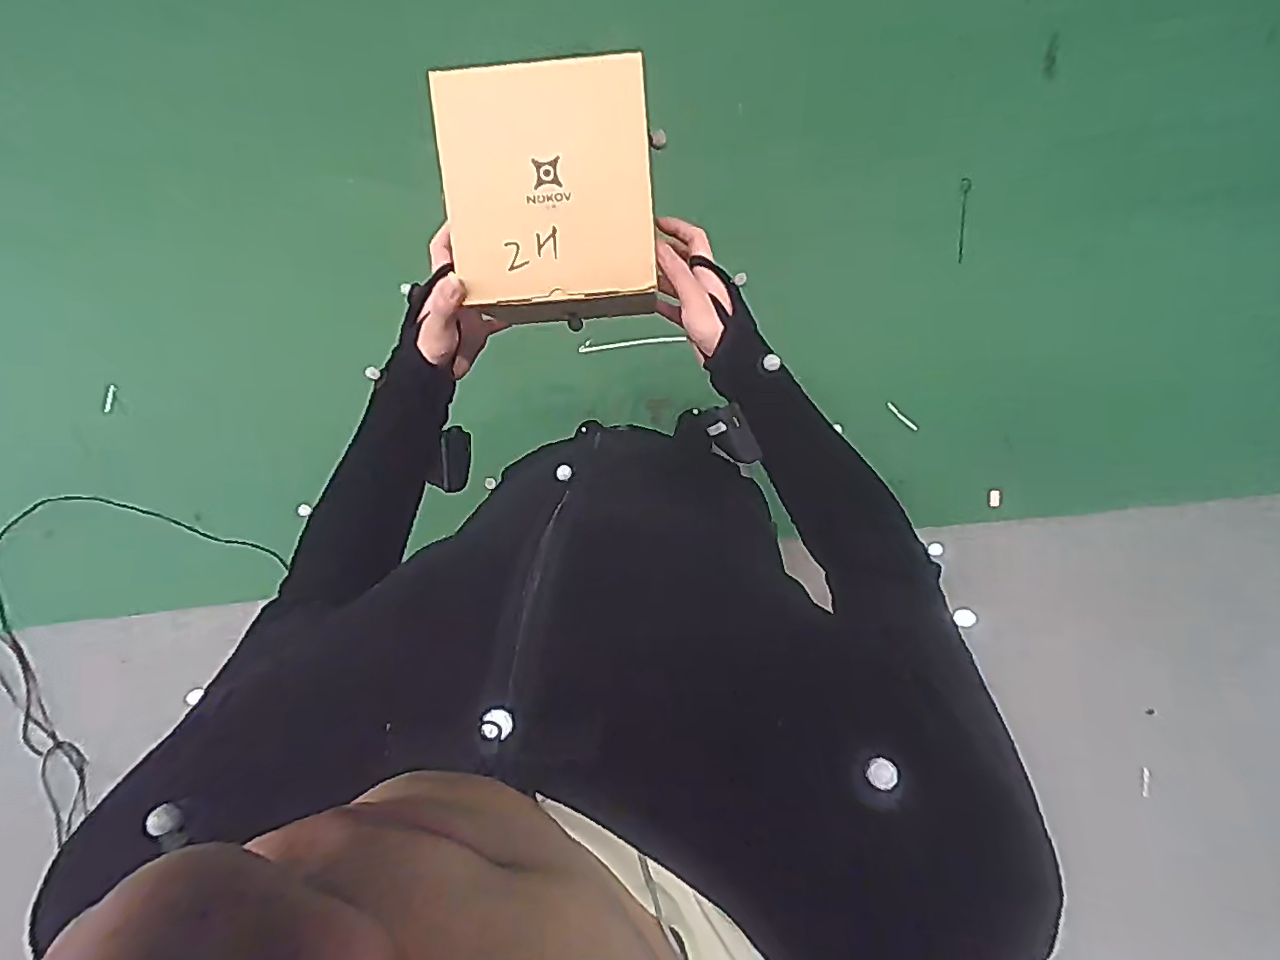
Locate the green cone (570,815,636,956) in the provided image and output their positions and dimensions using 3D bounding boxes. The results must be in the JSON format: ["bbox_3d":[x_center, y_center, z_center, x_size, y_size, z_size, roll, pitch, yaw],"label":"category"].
[{"bbox_3d":[-0.128,1.216,1.605,0.202,0.368,0.200,-7,96,3],"label":"green cone"}]
